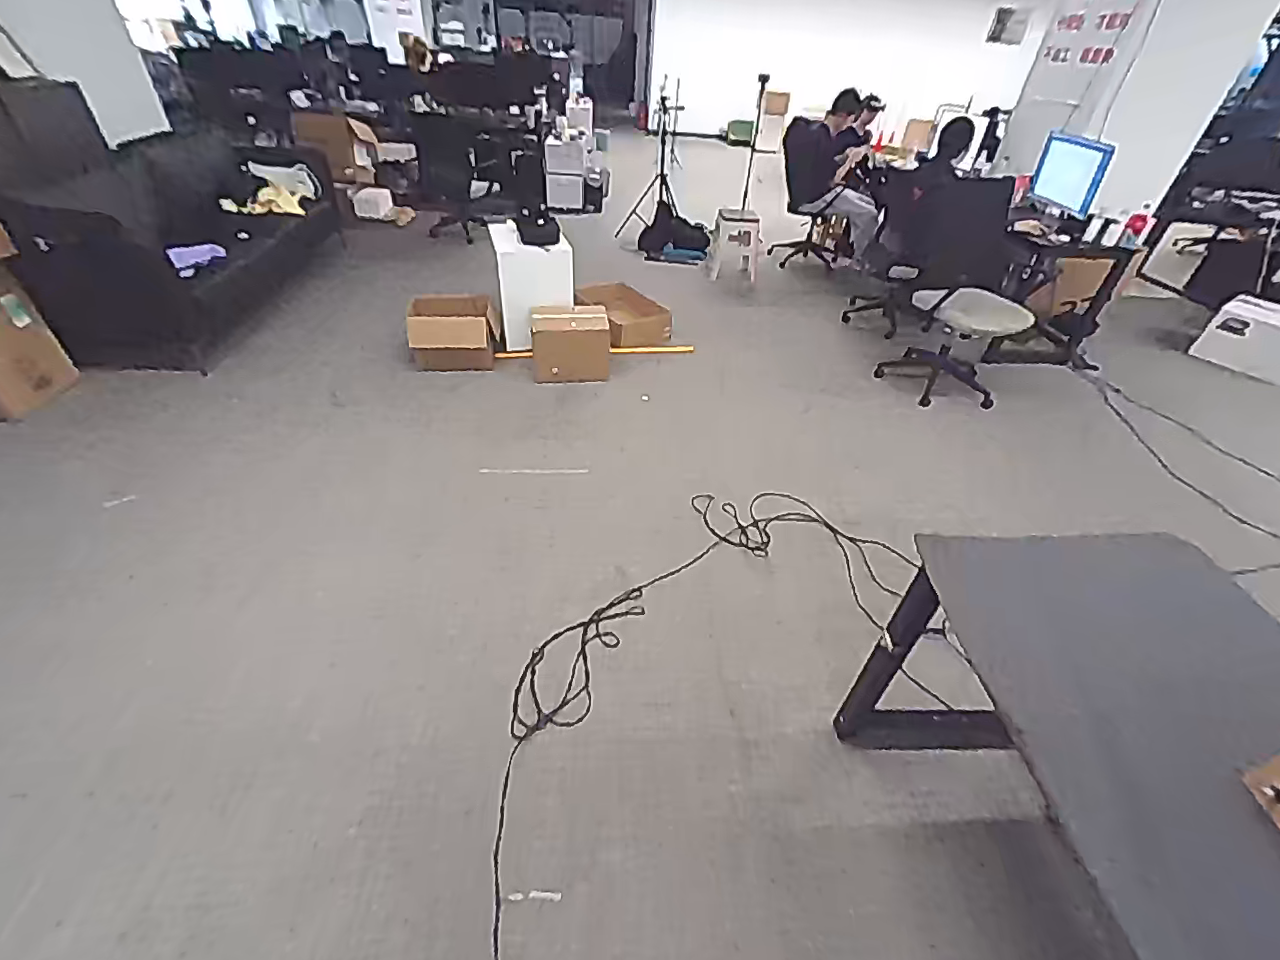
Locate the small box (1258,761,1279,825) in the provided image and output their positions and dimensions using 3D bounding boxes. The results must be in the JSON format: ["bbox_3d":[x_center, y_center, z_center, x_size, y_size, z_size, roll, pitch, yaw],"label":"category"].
[{"bbox_3d":[0.940,0.423,0.659,0.179,0.176,0.168,5,39,-1],"label":"small box"}]
